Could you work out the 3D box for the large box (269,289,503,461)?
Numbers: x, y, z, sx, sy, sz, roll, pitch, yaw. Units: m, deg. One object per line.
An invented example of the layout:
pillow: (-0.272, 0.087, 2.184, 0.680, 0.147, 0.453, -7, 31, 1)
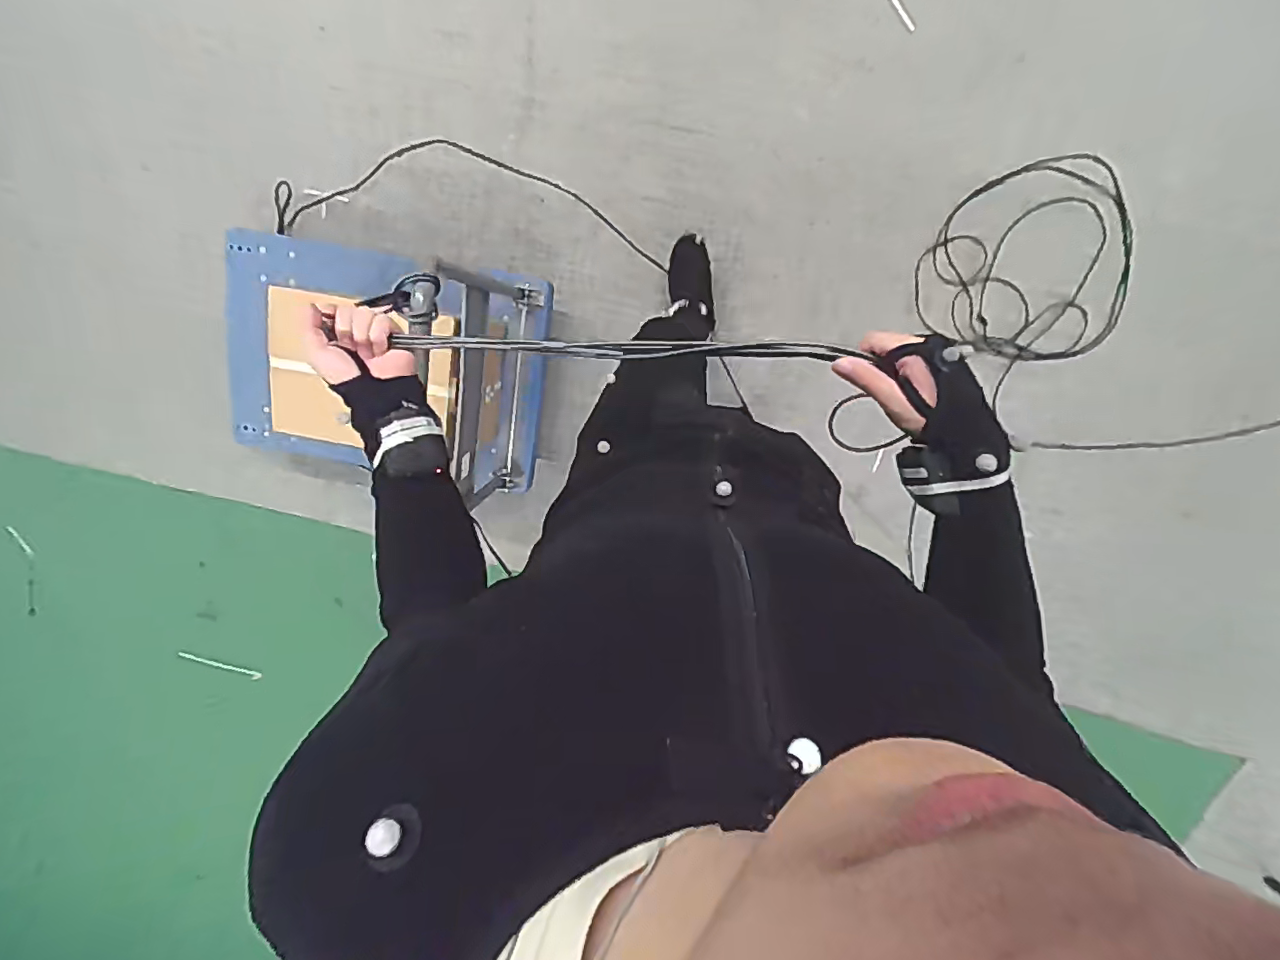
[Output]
large box: (-0.574, -0.254, 1.281, 0.408, 0.320, 0.320, 10, 105, 4)
